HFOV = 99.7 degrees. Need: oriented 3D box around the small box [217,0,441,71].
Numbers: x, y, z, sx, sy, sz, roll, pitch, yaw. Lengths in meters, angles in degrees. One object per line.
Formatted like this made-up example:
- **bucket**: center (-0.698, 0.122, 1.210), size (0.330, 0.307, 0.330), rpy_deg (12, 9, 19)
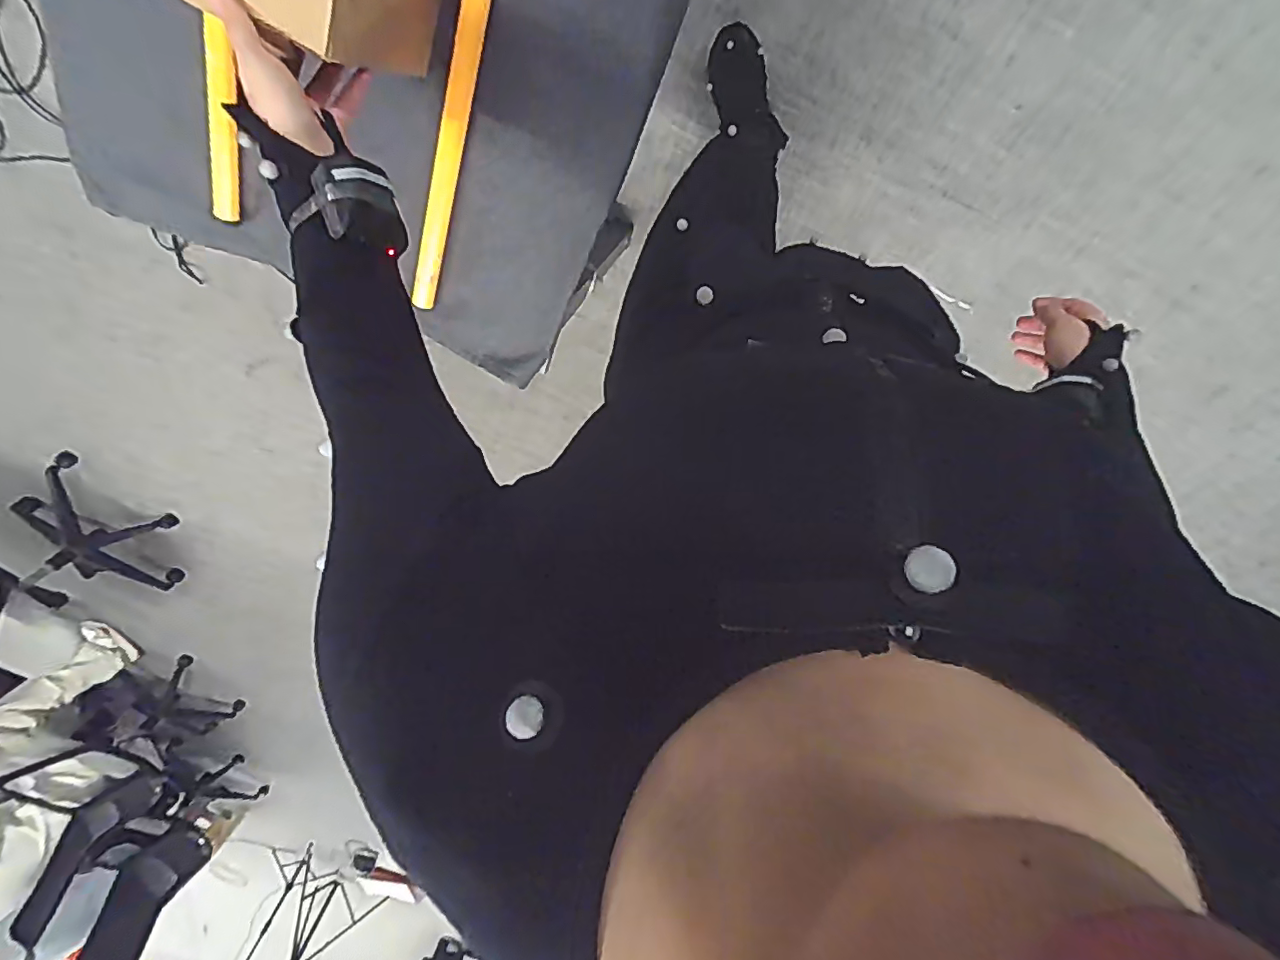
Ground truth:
- **small box**: center (-0.262, -0.466, 0.433), size (0.168, 0.176, 0.179), rpy_deg (26, 123, -8)
